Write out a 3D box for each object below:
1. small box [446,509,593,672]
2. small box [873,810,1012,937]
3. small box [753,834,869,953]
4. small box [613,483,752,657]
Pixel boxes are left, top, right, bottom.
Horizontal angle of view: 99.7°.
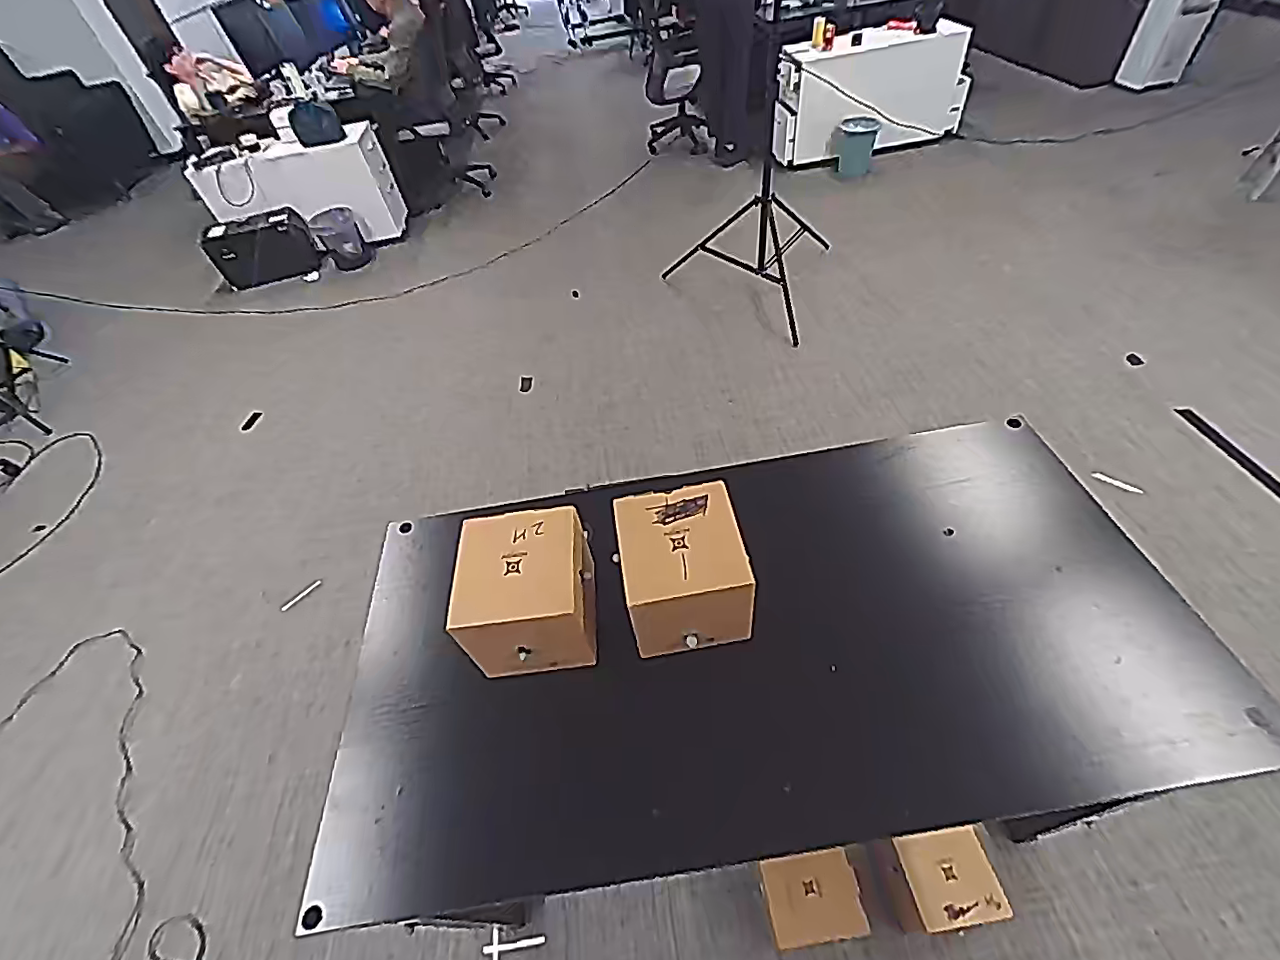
[{"bbox_3d":[-0.163,0.168,0.796,0.168,0.176,0.179,-7,48,1],"label":"small box"},{"bbox_3d":[0.597,0.800,1.098,0.168,0.176,0.179,-11,48,0],"label":"small box"},{"bbox_3d":[0.338,0.844,1.104,0.179,0.176,0.168,-11,48,1],"label":"small box"},{"bbox_3d":[0.058,0.133,0.792,0.168,0.176,0.179,-10,49,0],"label":"small box"}]
